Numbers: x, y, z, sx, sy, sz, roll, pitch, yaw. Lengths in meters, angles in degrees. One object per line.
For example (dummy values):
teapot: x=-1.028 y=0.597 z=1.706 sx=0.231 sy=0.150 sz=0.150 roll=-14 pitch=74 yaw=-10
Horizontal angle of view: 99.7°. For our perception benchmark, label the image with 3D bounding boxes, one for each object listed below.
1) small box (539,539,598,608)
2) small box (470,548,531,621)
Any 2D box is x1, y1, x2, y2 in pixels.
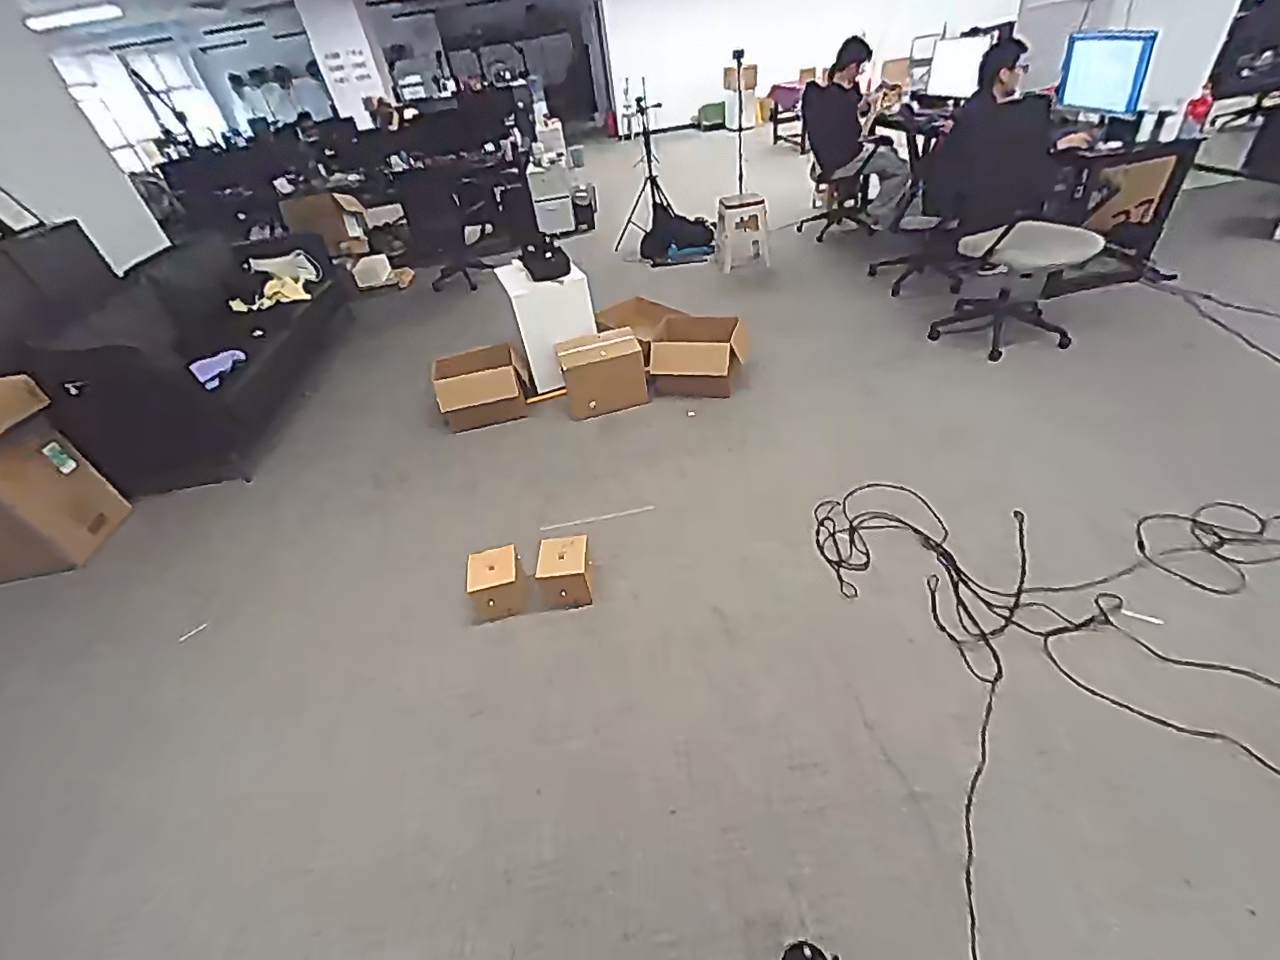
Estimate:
small box: x=-0.245 y=0.334 z=1.896 sx=0.168 sy=0.176 sz=0.179 roll=-7 pitch=39 yaw=4
small box: x=-0.487 y=0.375 z=1.902 sx=0.168 sy=0.176 sz=0.179 roll=-14 pitch=38 yaw=-4
